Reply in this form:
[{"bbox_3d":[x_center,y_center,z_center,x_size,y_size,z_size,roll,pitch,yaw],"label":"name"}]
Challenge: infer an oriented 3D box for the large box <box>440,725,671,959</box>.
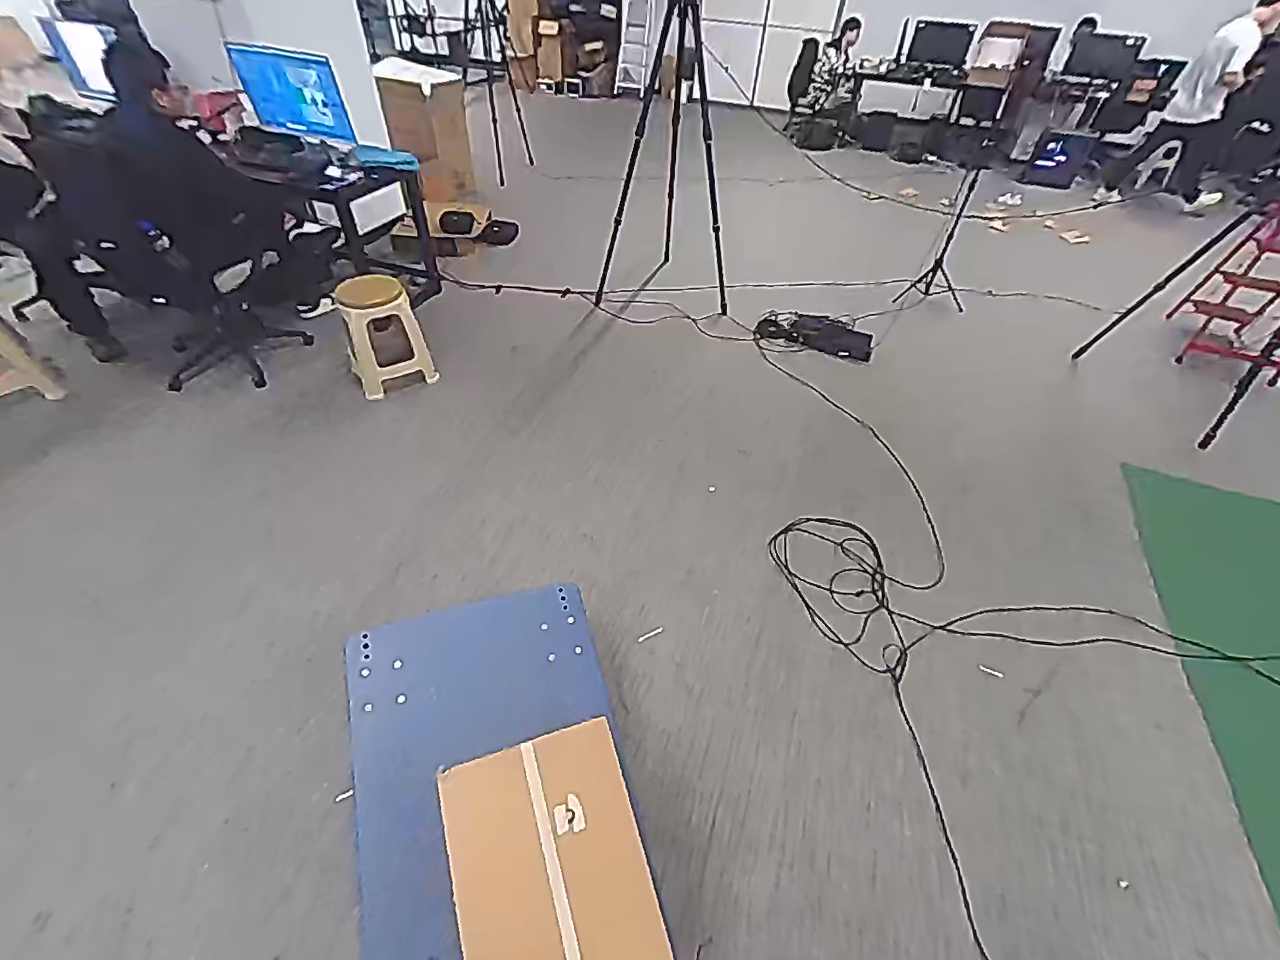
[{"bbox_3d":[-0.178,0.746,1.044,0.320,0.320,0.408,-10,62,-20],"label":"large box"}]
